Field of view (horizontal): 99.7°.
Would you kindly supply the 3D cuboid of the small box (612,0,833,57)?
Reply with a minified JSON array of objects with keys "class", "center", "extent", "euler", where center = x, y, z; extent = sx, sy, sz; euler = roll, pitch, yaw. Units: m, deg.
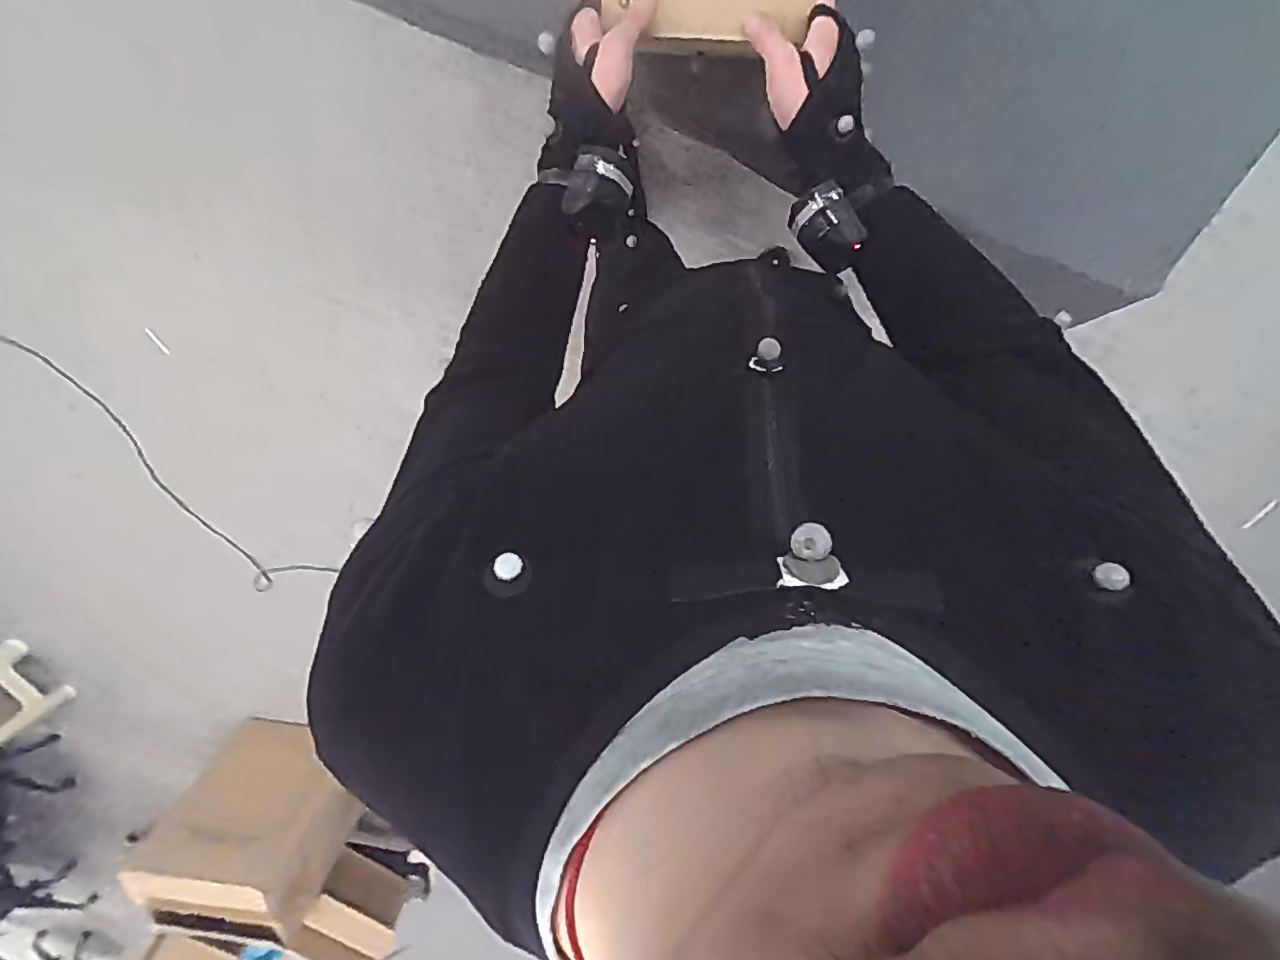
[{"class":"small box","center":[0.069,-0.472,0.456],"extent":[0.179,0.176,0.168],"euler":[3,123,-2]}]
